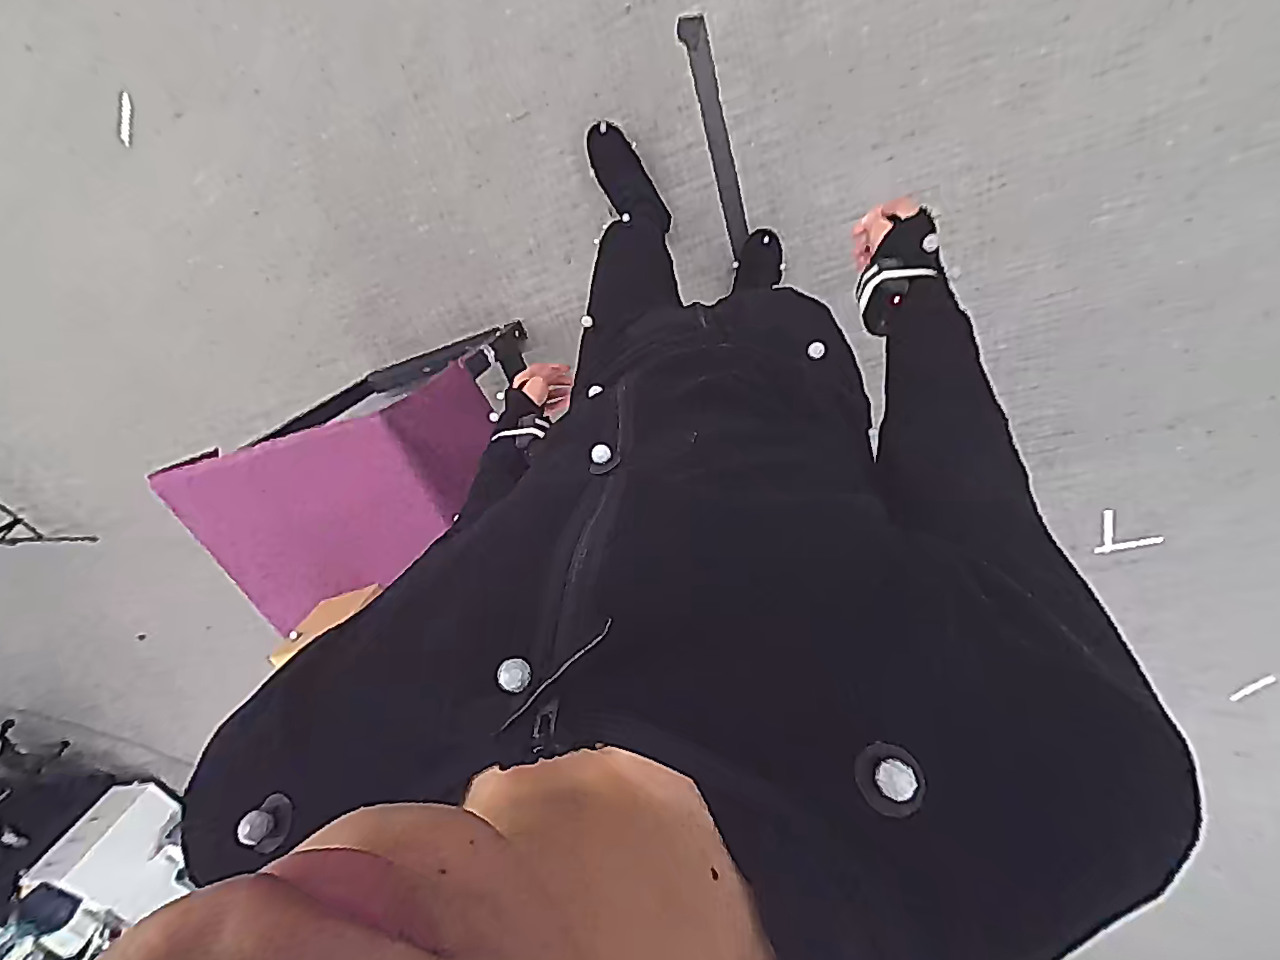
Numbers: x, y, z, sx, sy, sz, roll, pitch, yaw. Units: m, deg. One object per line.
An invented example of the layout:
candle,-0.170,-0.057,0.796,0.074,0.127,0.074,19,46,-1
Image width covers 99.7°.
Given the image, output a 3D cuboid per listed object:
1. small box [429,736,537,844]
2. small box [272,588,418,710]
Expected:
small box,-0.379,0.769,1.352,0.179,0.176,0.168,-24,113,23
small box,-0.617,0.356,1.152,0.179,0.176,0.168,-18,116,19
